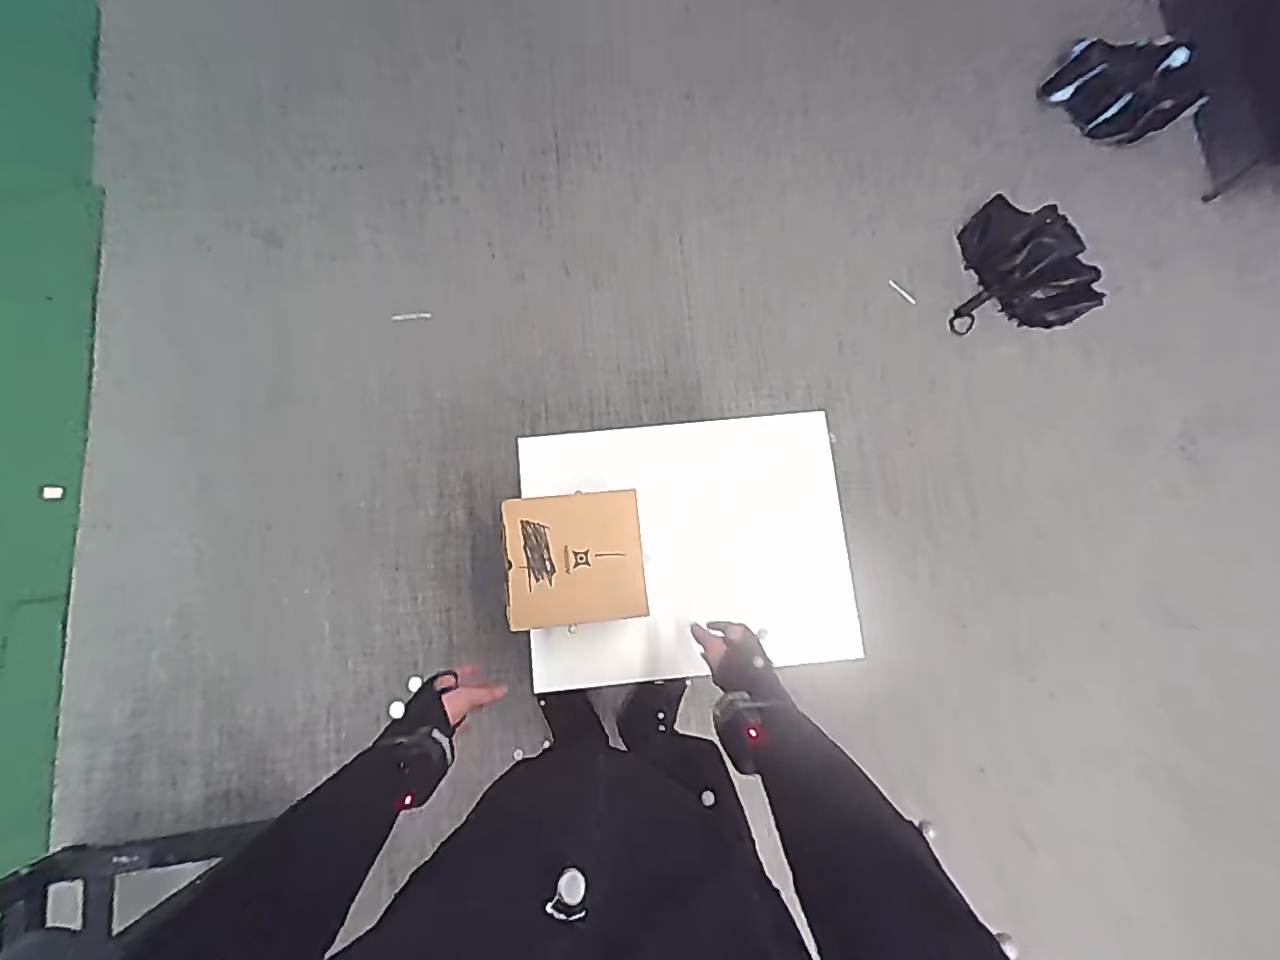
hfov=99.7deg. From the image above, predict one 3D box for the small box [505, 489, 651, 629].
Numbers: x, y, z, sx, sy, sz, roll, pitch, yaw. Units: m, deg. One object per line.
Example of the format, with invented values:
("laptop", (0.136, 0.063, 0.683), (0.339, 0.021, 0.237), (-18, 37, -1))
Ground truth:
("small box", (-0.083, 0.110, 0.752), (0.179, 0.176, 0.168), (-4, 81, -5))
